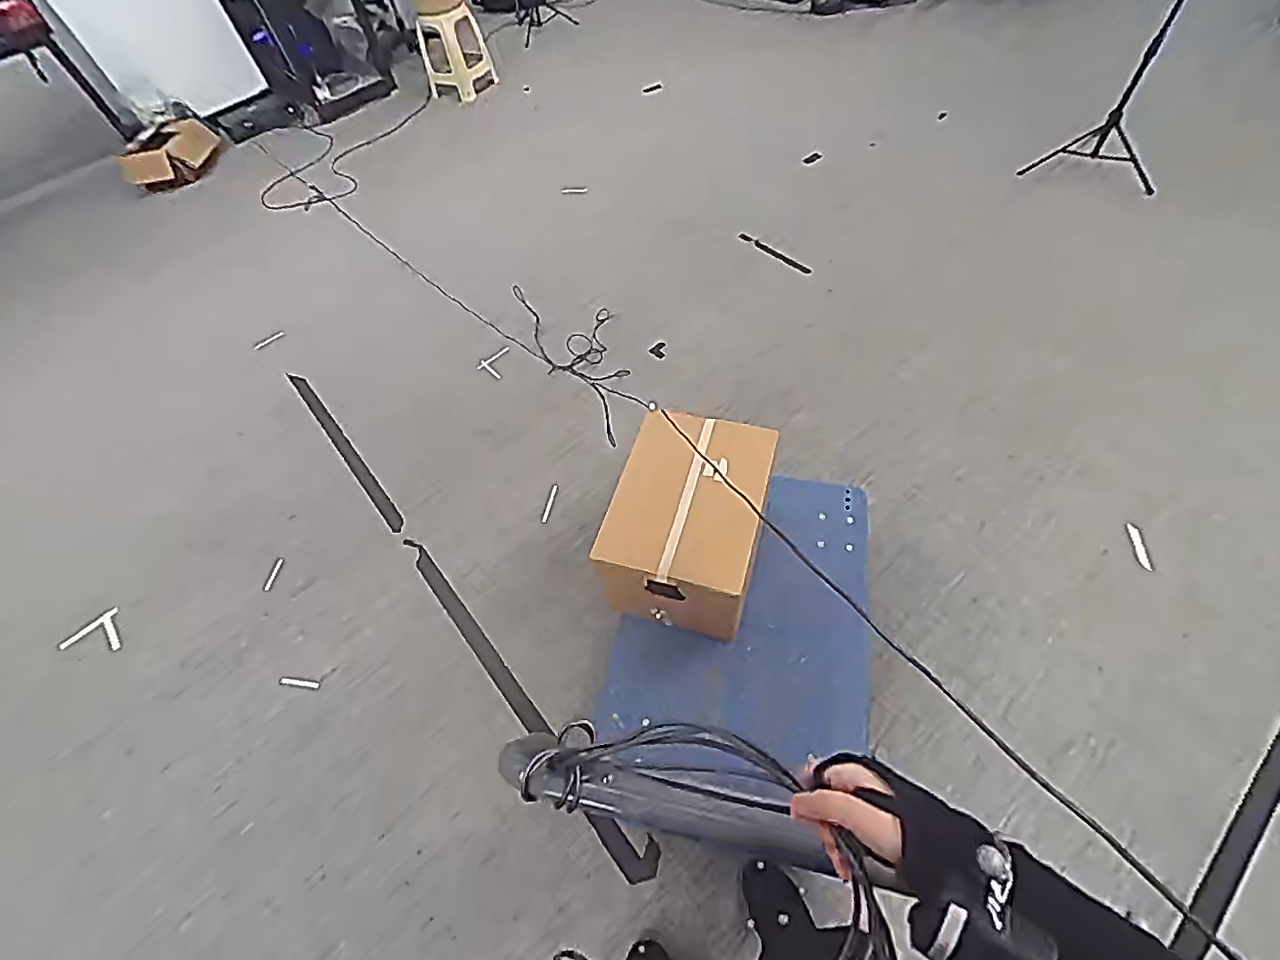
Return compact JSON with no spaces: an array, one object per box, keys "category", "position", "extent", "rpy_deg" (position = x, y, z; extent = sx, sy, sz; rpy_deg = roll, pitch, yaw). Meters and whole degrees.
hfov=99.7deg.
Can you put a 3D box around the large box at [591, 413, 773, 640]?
[{"category":"large box","position":[0.115,0.110,1.271],"extent":[0.320,0.320,0.408],"rpy_deg":[12,59,14]}]
